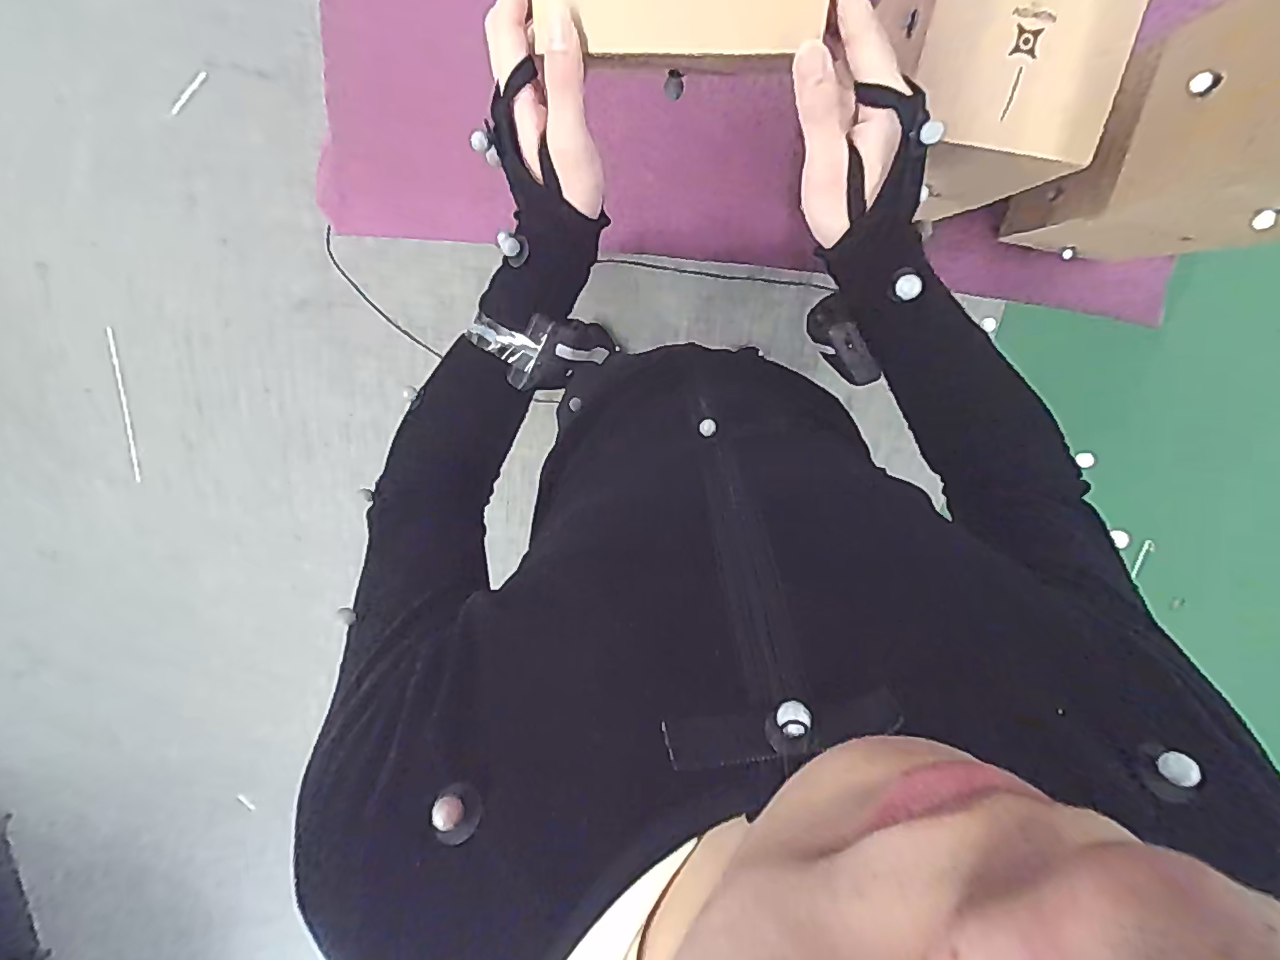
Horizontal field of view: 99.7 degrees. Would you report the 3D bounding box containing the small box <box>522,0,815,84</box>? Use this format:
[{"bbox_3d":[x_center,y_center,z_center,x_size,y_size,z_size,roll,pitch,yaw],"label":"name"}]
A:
[{"bbox_3d":[0.030,-0.358,0.330,0.168,0.176,0.179,8,124,9],"label":"small box"}]

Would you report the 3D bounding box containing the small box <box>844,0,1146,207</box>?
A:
[{"bbox_3d":[0.314,-0.381,0.511,0.168,0.176,0.179,10,107,0],"label":"small box"}]

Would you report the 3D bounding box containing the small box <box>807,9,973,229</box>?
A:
[{"bbox_3d":[0.318,-0.424,0.669,0.168,0.176,0.179,9,105,0],"label":"small box"}]
